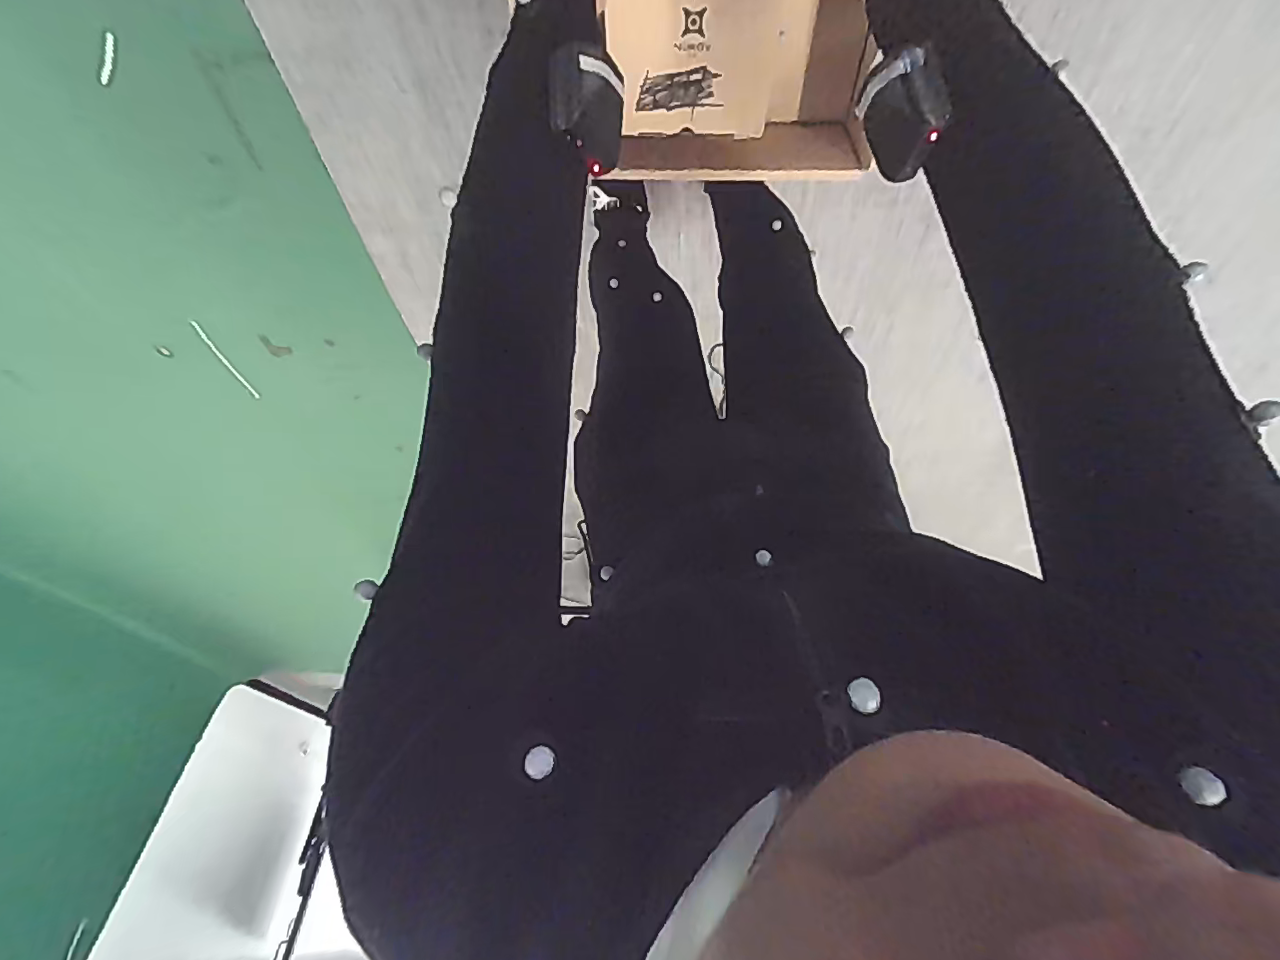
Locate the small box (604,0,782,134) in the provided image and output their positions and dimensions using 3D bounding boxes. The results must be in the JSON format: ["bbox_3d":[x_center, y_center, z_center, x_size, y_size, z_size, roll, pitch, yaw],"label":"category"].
[{"bbox_3d":[0.054,-0.489,0.557,0.168,0.176,0.179,3,142,2],"label":"small box"}]

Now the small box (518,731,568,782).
[{"bbox_3d":[-0.410,1.176,2.312,0.168,0.176,0.179,1,140,5],"label":"small box"}]
